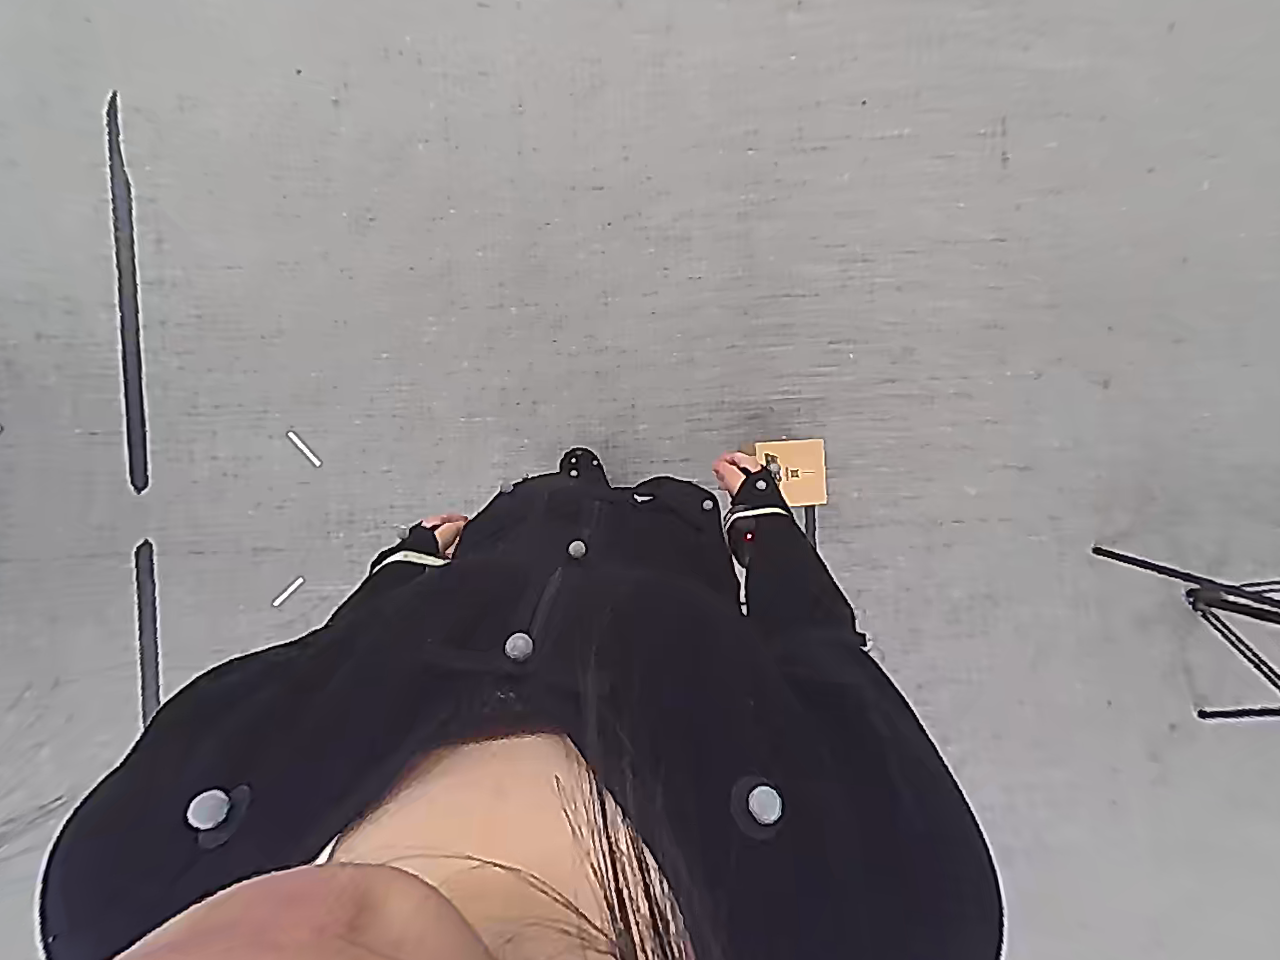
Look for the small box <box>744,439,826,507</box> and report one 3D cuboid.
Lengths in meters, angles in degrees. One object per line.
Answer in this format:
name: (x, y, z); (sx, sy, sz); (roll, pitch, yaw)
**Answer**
small box: (0.373, -0.019, 1.425); (0.179, 0.176, 0.168); (-4, 93, -1)
